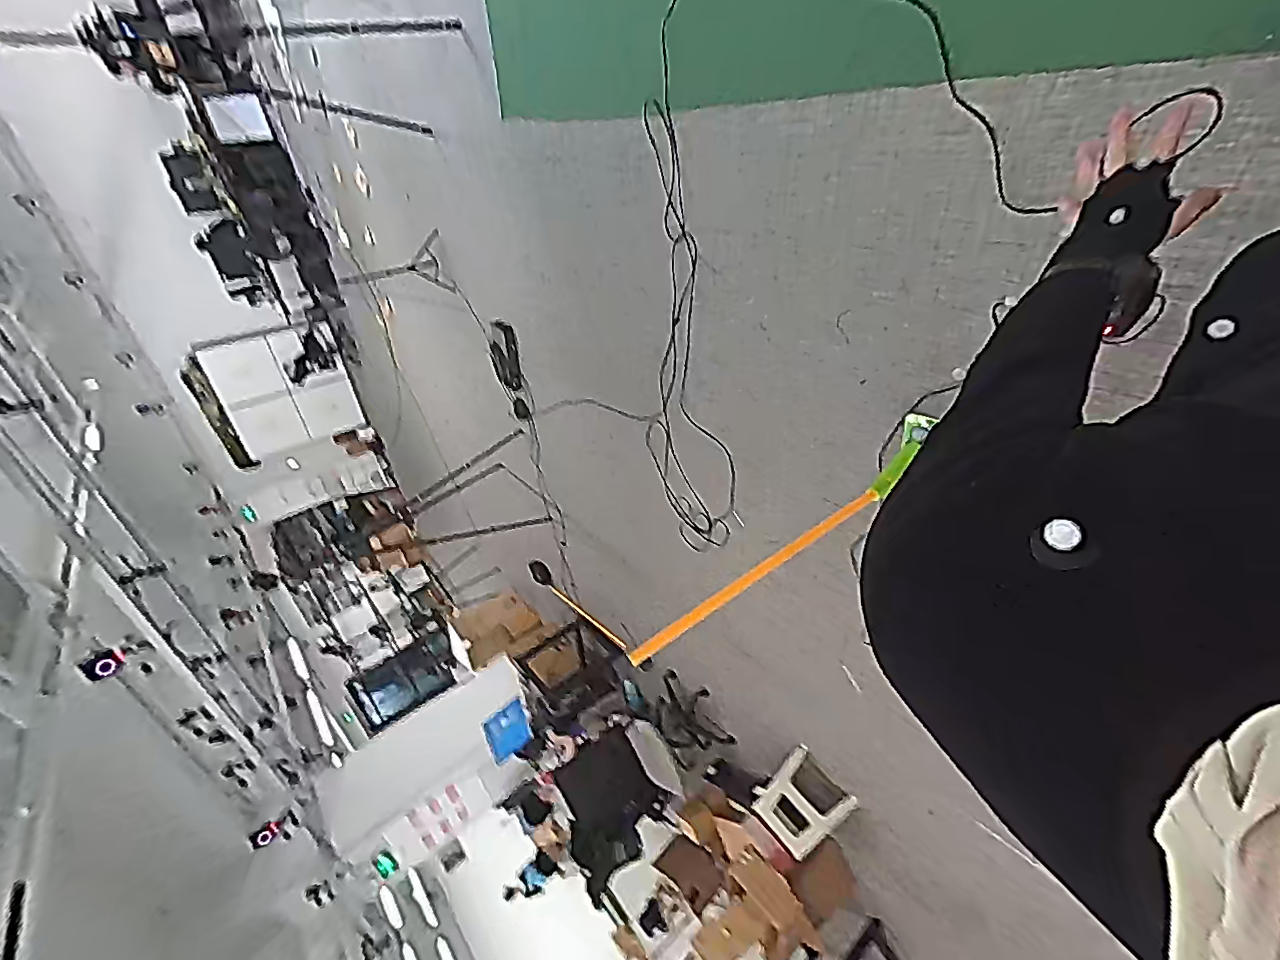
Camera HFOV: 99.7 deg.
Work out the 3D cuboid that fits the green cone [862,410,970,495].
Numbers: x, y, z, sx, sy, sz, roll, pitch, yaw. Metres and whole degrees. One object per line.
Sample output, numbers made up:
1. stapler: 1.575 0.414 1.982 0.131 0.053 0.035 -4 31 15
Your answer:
1. green cone: 0.797 -0.047 1.632 0.202 0.368 0.200 30 137 45
